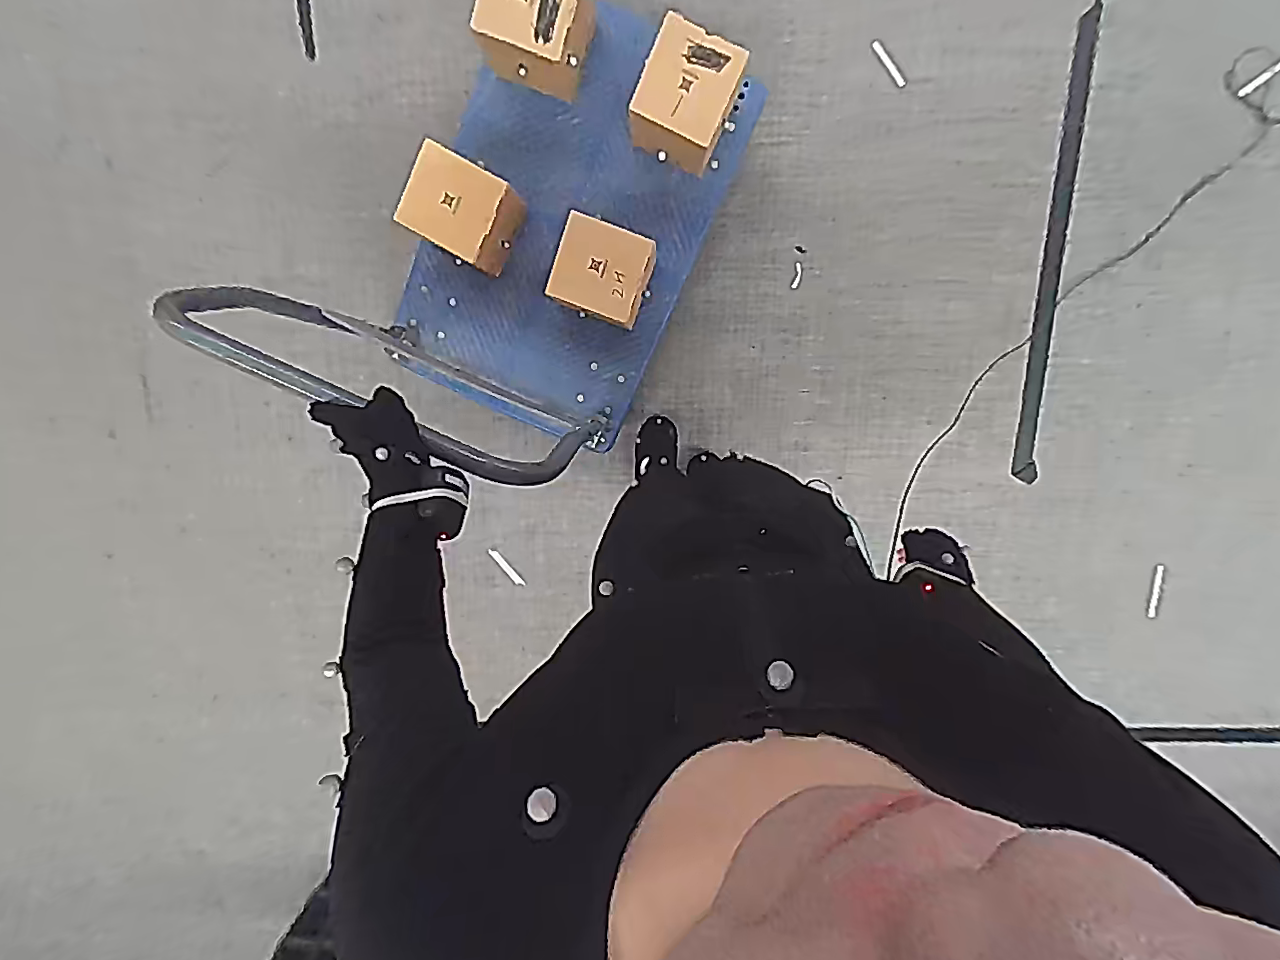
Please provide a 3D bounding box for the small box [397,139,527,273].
[{"bbox_3d":[-0.357,-0.550,1.116,0.179,0.176,0.168,27,100,-5],"label":"small box"}]

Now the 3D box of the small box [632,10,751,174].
[{"bbox_3d":[0.094,-0.745,1.062,0.168,0.176,0.179,25,102,-3],"label":"small box"}]

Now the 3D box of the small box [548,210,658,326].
[{"bbox_3d":[-0.071,-0.430,1.129,0.179,0.176,0.168,20,101,-2],"label":"small box"}]
